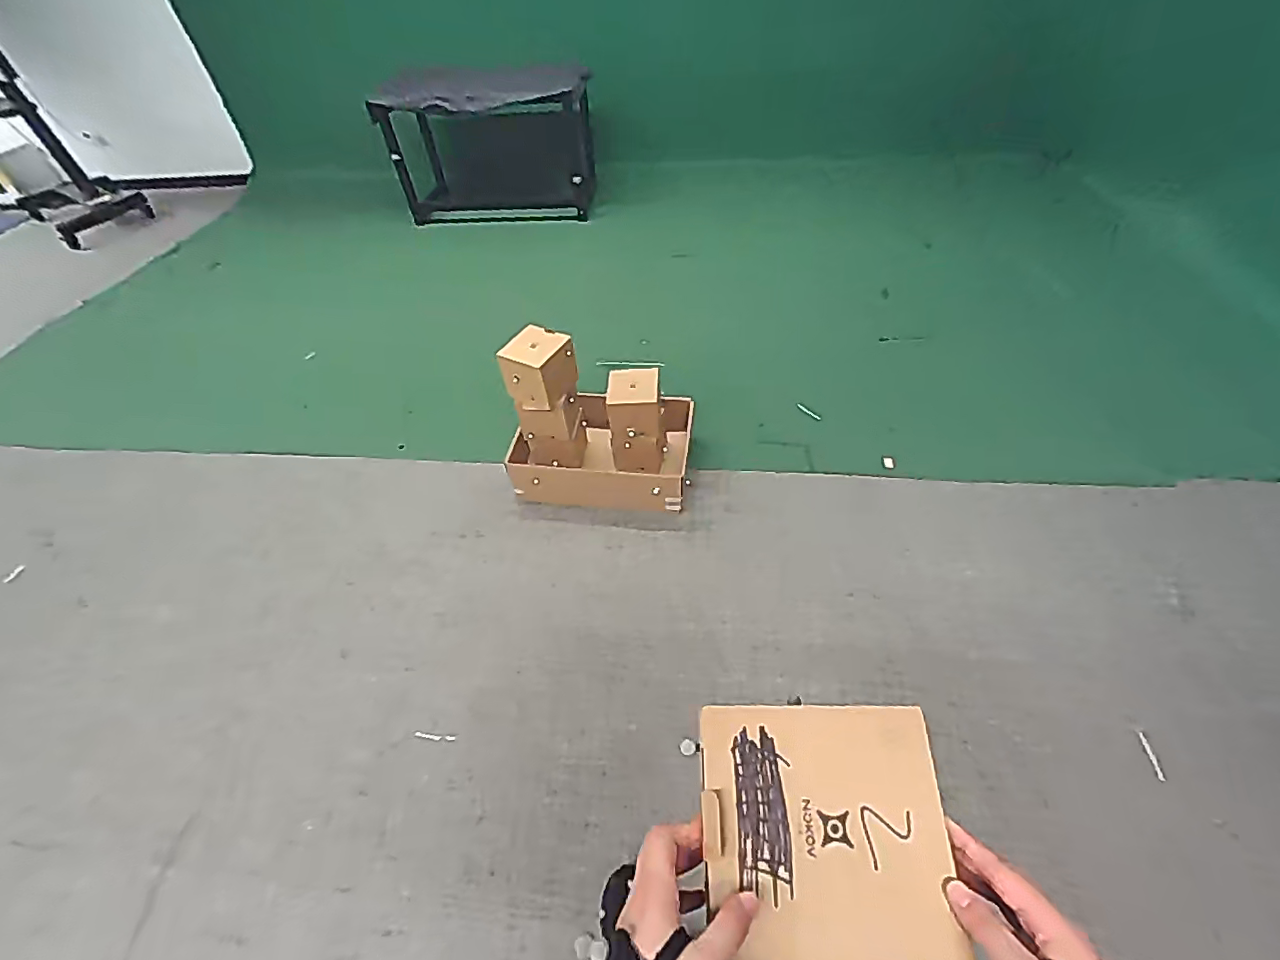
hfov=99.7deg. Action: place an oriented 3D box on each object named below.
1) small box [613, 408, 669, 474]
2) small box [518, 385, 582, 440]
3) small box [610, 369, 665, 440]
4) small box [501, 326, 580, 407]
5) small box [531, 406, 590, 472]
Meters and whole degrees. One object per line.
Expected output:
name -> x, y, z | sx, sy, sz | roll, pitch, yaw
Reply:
small box -> 0.010, -0.146, 1.939 | 0.168, 0.176, 0.179 | 6, 49, 11
small box -> -0.298, -0.253, 1.836 | 0.168, 0.176, 0.179 | 4, 48, 7
small box -> -0.003, -0.253, 1.817 | 0.168, 0.176, 0.179 | -2, 50, 6
small box -> -0.305, -0.356, 1.710 | 0.168, 0.176, 0.179 | 21, 52, 21
small box -> -0.282, -0.152, 1.964 | 0.168, 0.176, 0.179 | 2, 49, 7
